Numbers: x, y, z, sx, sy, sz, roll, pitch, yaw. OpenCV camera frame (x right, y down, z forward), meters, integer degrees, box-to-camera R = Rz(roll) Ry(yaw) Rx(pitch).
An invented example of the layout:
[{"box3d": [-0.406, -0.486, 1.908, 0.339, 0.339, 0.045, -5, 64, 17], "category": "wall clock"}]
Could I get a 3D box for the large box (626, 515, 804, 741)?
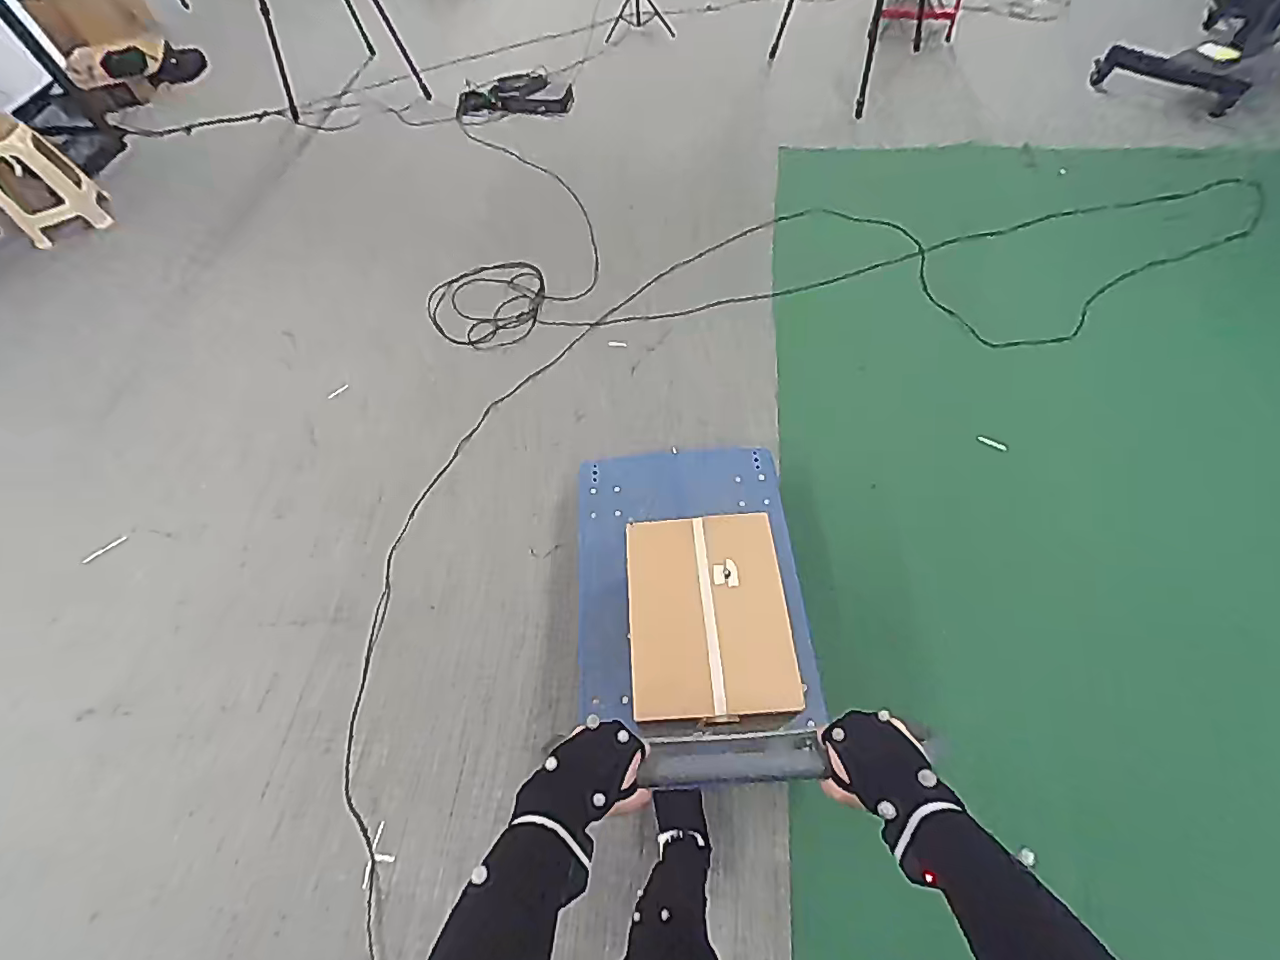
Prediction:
[{"box3d": [0.146, 0.336, 1.210, 0.320, 0.320, 0.408, -4, 58, 1], "category": "large box"}]
